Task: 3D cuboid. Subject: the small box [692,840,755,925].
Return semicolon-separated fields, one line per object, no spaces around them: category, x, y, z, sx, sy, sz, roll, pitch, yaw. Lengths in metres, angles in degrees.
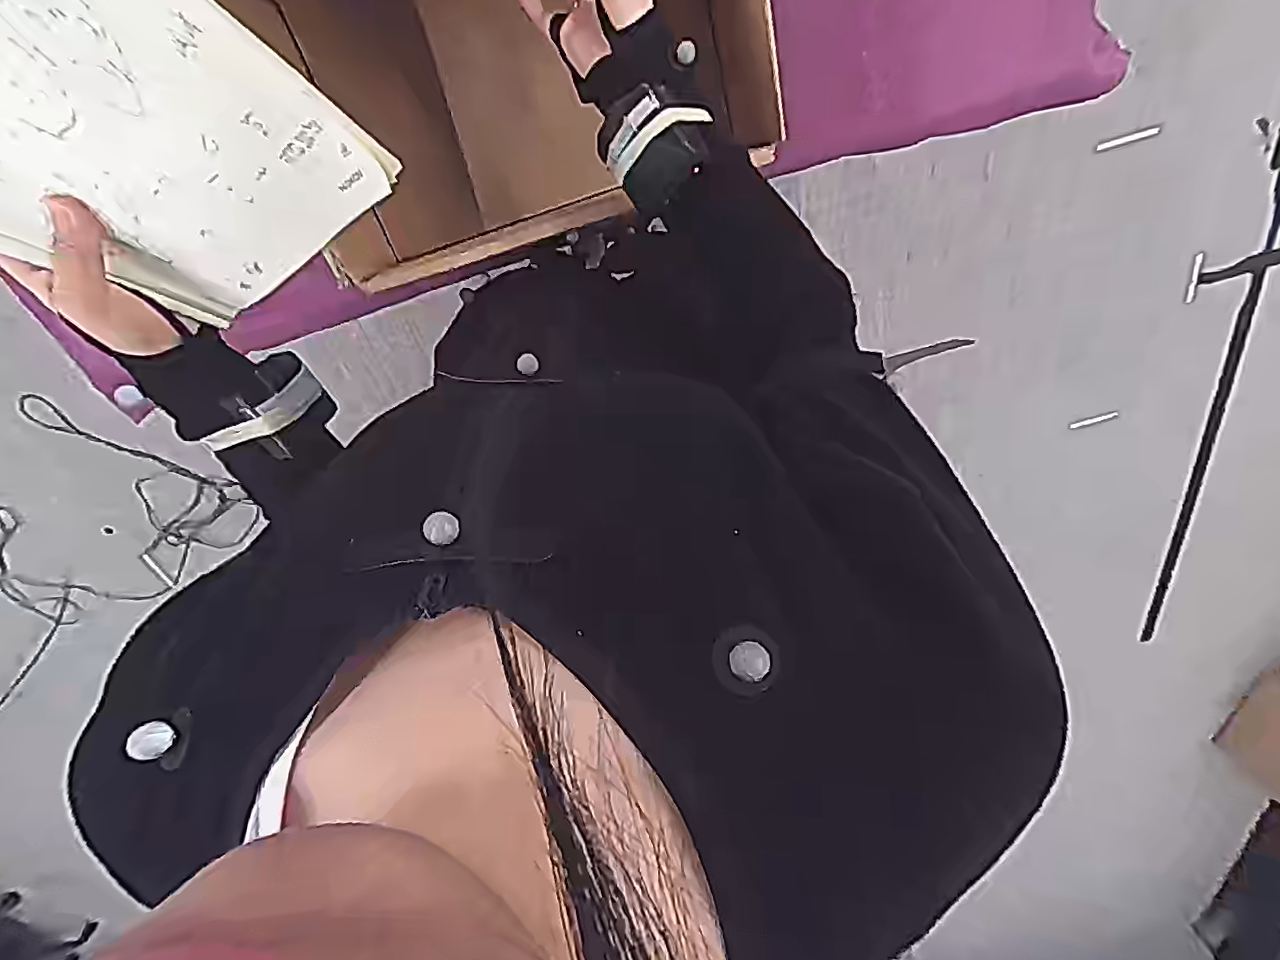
small box;0.278;1.341;1.815;0.168;0.176;0.179;-13;119;1

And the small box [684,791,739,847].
small box;0.259;1.252;1.952;0.168;0.176;0.179;-11;121;-1
